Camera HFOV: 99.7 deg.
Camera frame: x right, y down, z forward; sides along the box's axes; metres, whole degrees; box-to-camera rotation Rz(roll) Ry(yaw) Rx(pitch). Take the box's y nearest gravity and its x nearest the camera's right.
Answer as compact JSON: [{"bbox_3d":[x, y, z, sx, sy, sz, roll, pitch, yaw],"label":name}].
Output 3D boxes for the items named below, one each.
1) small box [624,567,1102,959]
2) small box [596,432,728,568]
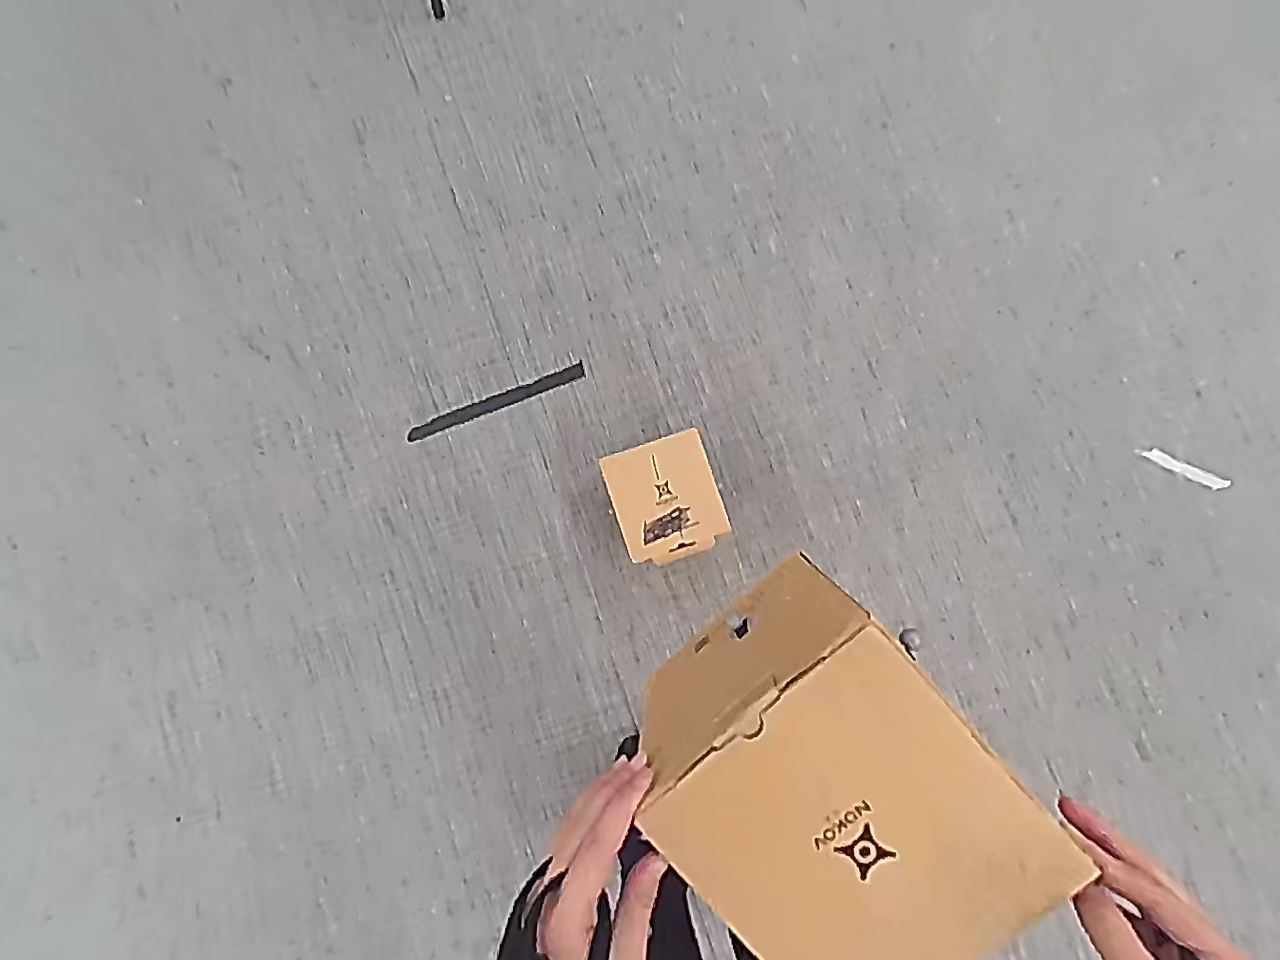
[{"bbox_3d":[0.114,0.181,0.347,0.168,0.176,0.179,-43,89,5],"label":"small box"},{"bbox_3d":[0.038,0.037,0.916,0.168,0.176,0.179,-19,83,0],"label":"small box"}]
